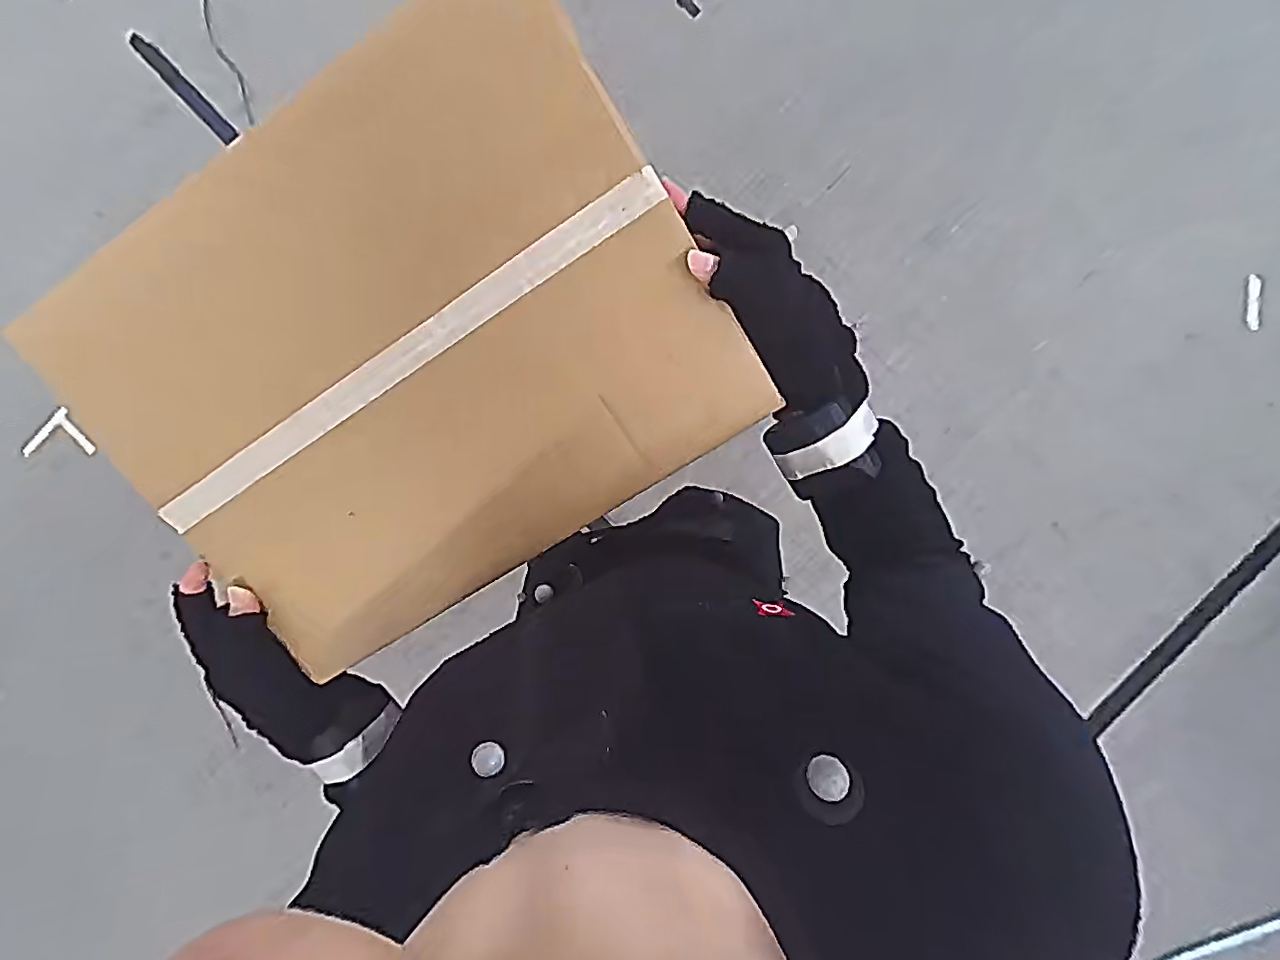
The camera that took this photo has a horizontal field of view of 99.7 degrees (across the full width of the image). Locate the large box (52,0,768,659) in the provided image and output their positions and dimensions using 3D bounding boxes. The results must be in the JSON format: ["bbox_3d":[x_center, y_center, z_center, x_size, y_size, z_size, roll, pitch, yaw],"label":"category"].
[{"bbox_3d":[-0.154,-0.118,0.511,0.408,0.320,0.320,-31,103,8],"label":"large box"}]
